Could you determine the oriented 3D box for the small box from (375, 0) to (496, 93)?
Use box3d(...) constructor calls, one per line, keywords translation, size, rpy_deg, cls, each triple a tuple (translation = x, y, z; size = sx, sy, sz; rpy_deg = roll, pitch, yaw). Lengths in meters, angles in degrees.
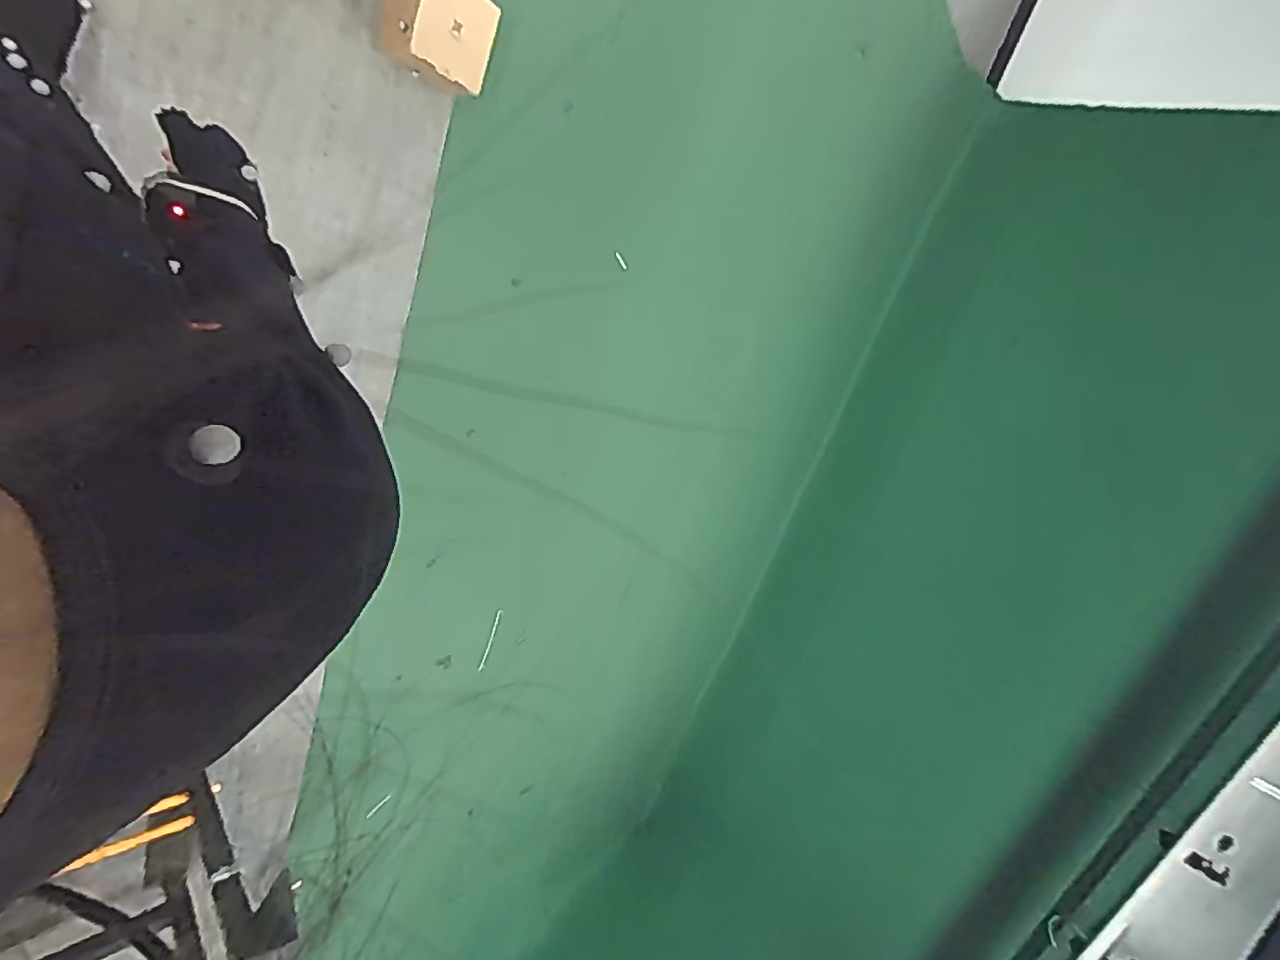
box3d(translation=(-0.445, -0.979, 1.166), size=(0.168, 0.176, 0.179), rpy_deg=(2, 115, -51), cls="small box")
